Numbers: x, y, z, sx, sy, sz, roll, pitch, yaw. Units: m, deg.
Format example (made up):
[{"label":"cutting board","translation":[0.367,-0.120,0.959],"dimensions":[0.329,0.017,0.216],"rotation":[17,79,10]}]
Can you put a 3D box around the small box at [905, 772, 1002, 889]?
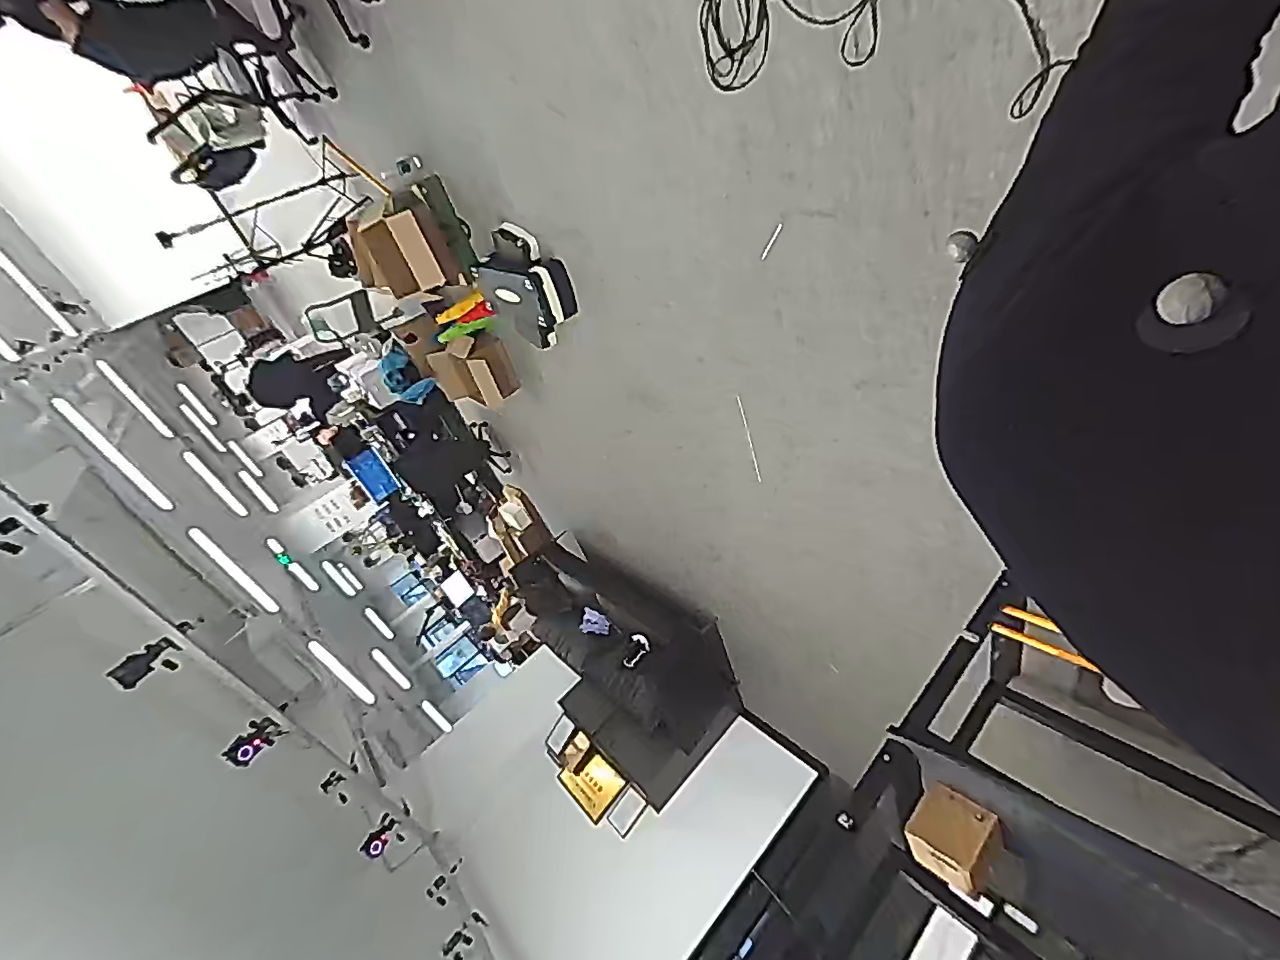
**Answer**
[{"label":"small box","translation":[0.849,0.936,1.459],"dimensions":[0.168,0.176,0.179],"rotation":[16,140,52]}]
